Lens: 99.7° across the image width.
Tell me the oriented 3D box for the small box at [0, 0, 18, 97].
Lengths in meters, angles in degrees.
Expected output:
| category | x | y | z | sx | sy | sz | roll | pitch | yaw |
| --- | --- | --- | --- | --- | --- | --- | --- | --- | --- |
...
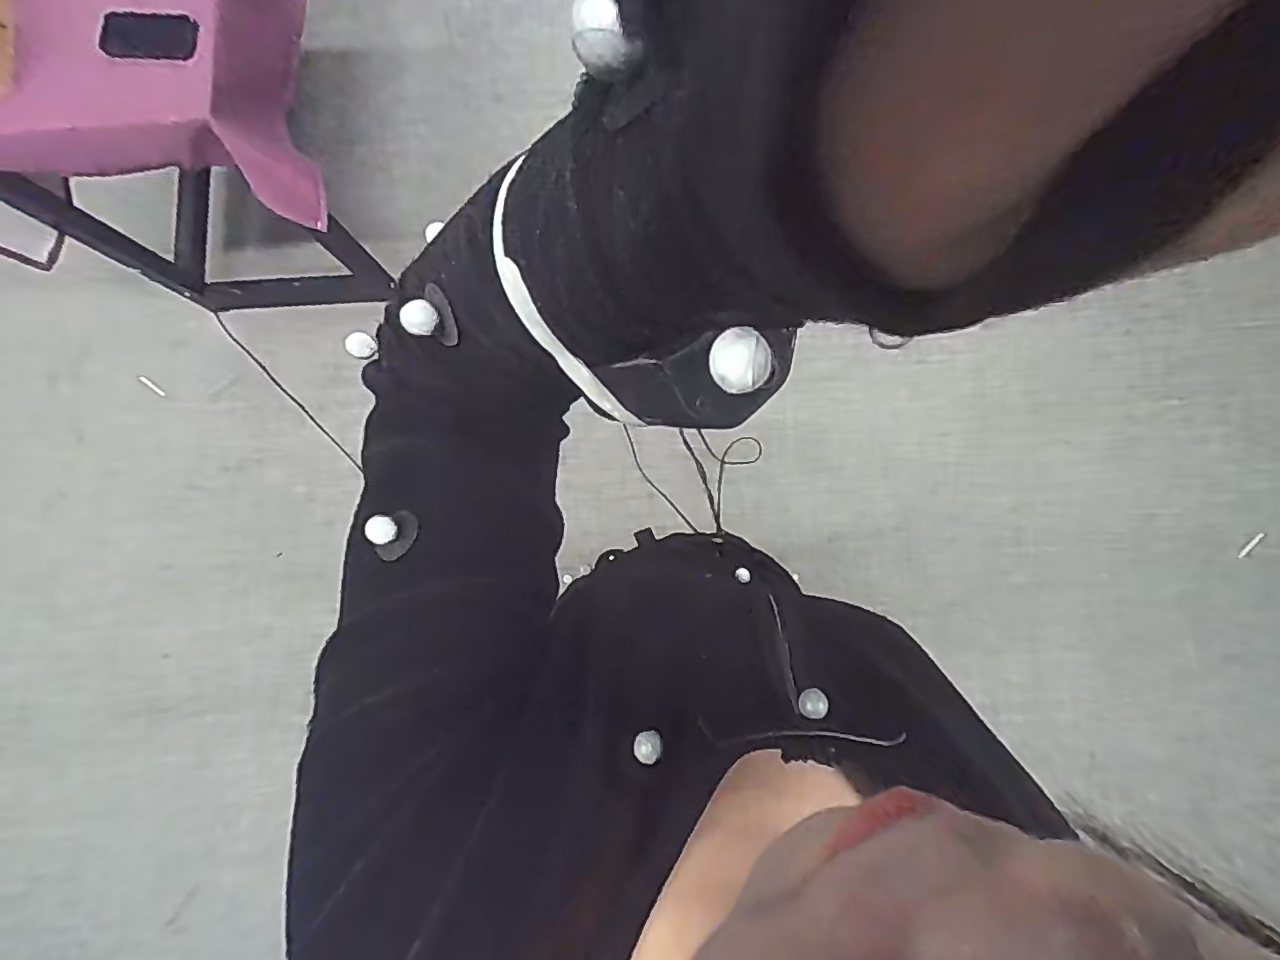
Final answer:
| category | x | y | z | sx | sy | sz | roll | pitch | yaw |
| --- | --- | --- | --- | --- | --- | --- | --- | --- | --- |
| small box | -1.125 | -0.717 | 0.826 | 0.179 | 0.176 | 0.168 | -7 | 82 | -1 |
